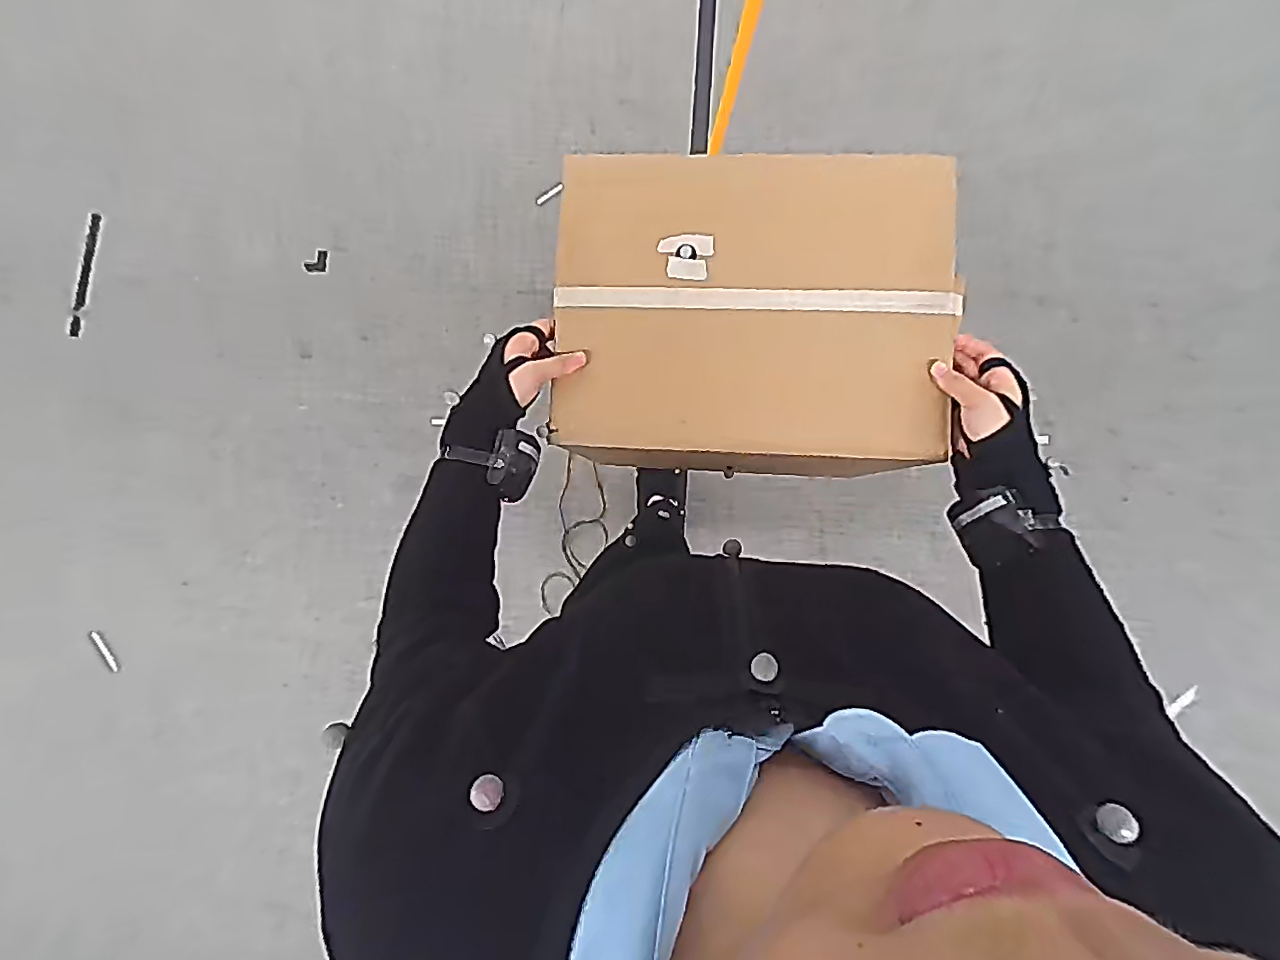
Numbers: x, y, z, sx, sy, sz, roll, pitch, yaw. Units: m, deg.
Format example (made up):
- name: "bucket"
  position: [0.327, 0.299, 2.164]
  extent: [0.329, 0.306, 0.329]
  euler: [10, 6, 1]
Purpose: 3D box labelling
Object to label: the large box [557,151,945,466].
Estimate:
- name: "large box"
  position: [0.129, -0.183, 0.716]
  extent: [0.408, 0.320, 0.320]
  euler: [2, 86, 6]
